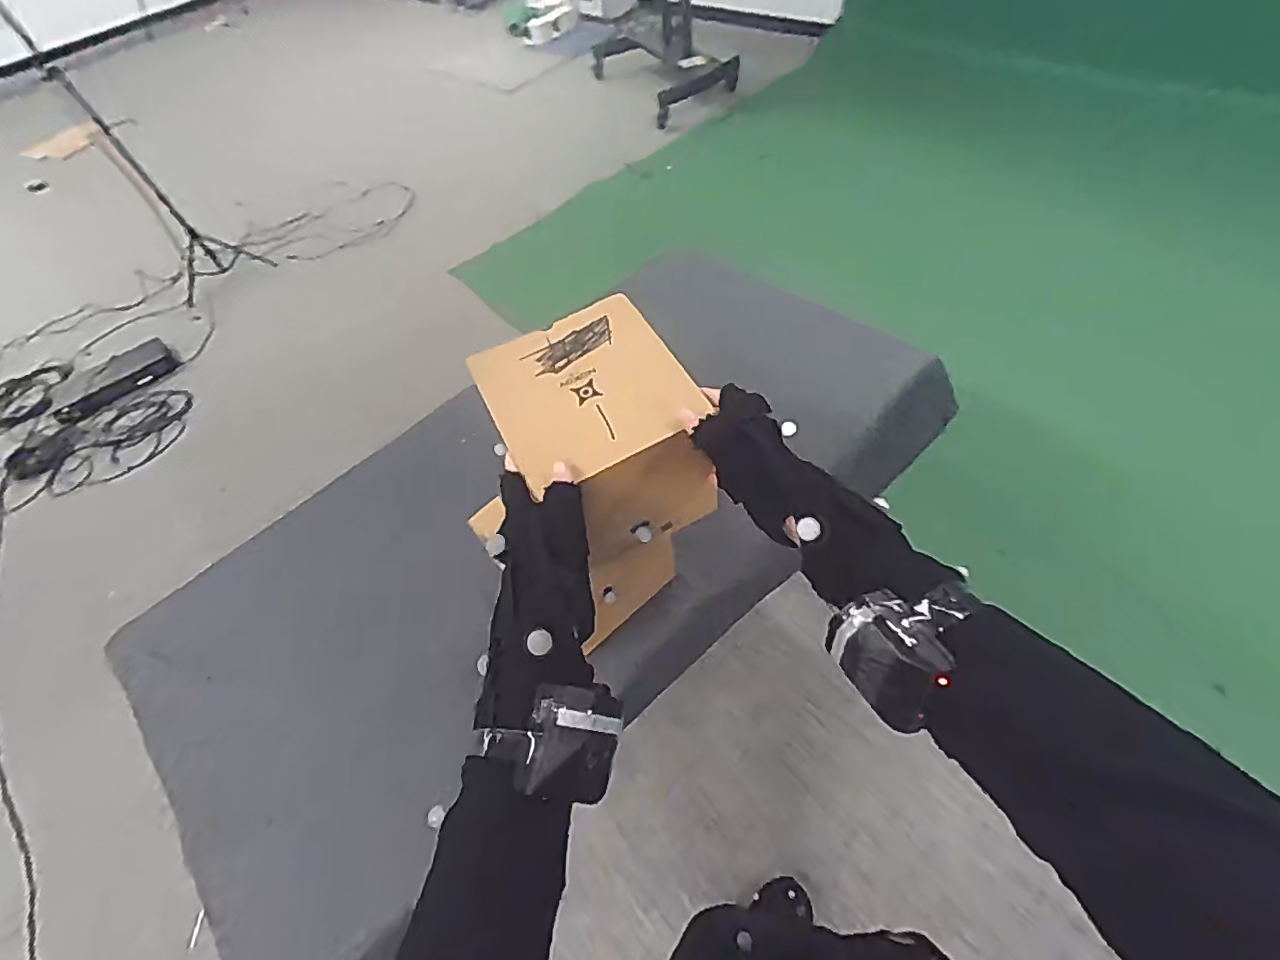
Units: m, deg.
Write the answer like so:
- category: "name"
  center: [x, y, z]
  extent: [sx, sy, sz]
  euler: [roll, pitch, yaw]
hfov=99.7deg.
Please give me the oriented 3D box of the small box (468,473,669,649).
- category: "small box"
  center: [-0.080, 0.085, 0.693]
  extent: [0.179, 0.176, 0.168]
  euler: [-39, 58, -17]

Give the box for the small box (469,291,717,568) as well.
- category: "small box"
  center: [-0.039, -0.045, 0.535]
  extent: [0.168, 0.176, 0.179]
  euler: [-29, 58, -9]
